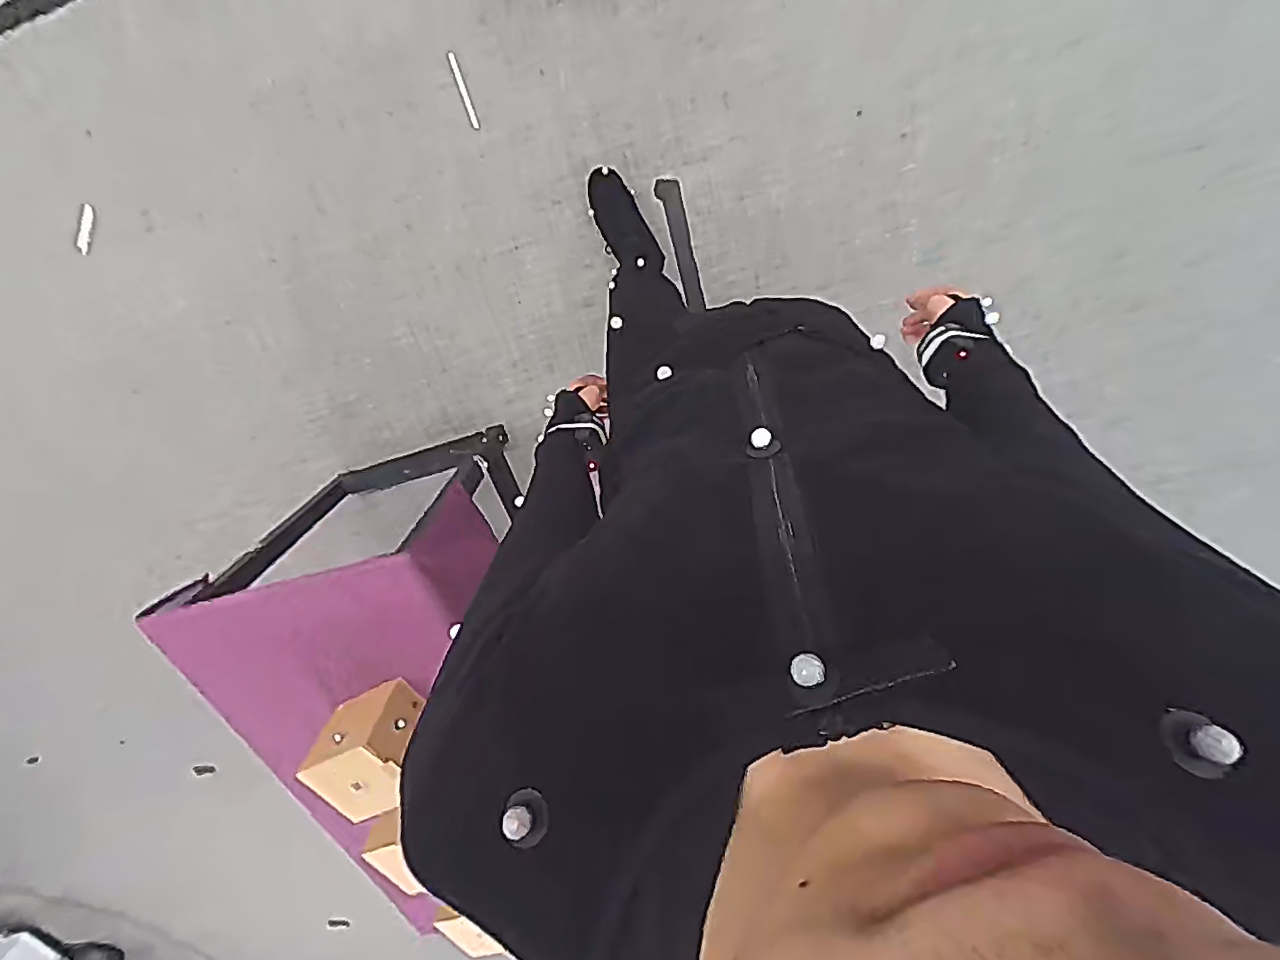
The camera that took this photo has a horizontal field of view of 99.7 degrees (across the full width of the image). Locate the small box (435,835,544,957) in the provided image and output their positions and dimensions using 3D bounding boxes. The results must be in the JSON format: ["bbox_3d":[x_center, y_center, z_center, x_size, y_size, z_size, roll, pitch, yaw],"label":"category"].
[{"bbox_3d":[-0.357,1.010,1.320,0.179,0.176,0.168,-23,114,11],"label":"small box"}]

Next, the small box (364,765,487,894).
[{"bbox_3d":[-0.462,0.773,1.207,0.179,0.176,0.168,-24,113,13],"label":"small box"}]

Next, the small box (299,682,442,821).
[{"bbox_3d":[-0.528,0.544,1.098,0.179,0.176,0.168,-26,112,14],"label":"small box"}]
